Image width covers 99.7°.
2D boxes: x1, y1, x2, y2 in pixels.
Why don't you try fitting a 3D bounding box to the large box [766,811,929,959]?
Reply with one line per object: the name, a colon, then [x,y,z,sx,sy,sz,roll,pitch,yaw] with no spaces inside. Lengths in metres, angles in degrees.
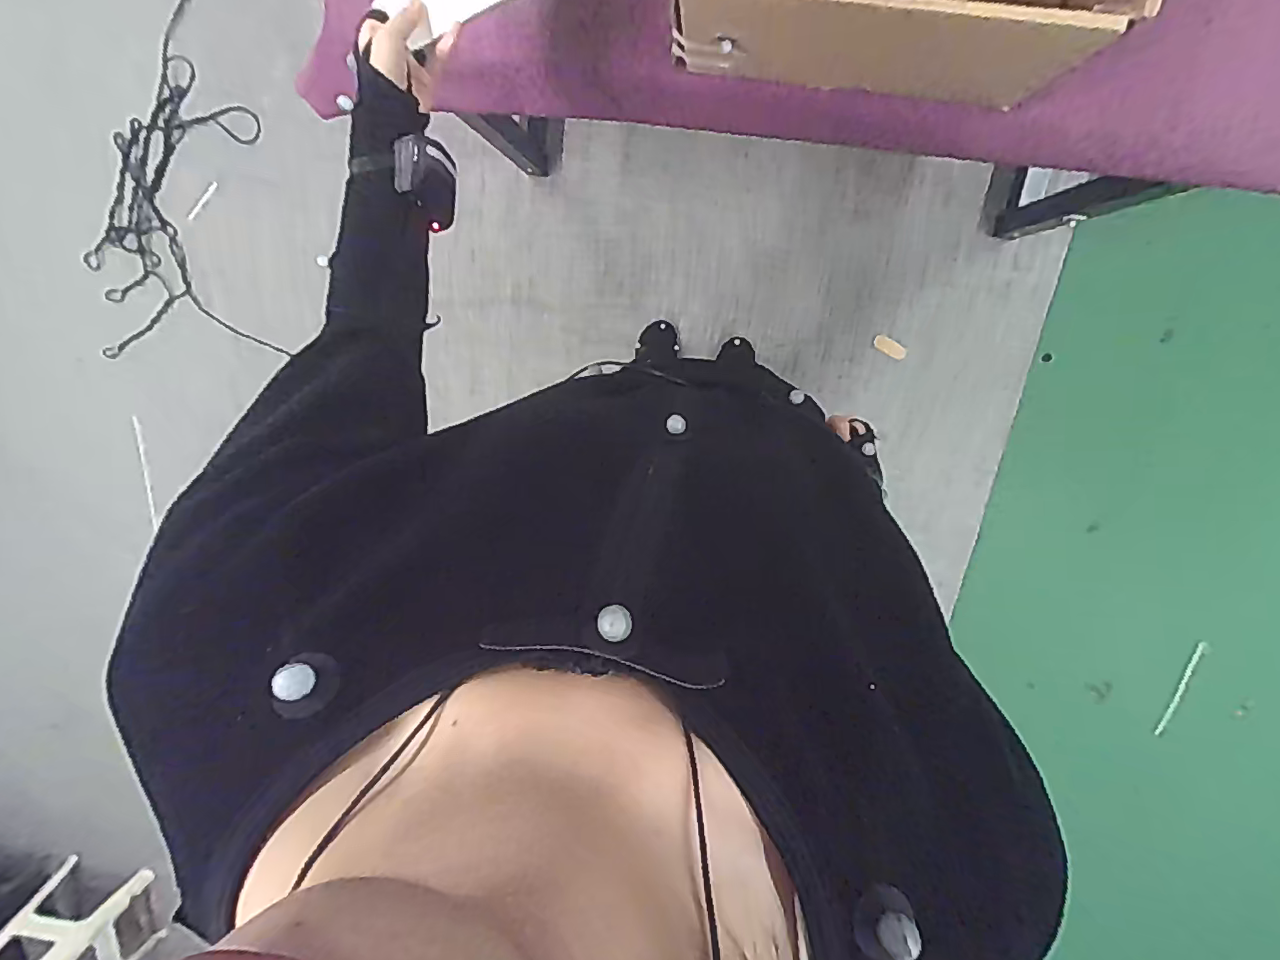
large box: [0.619,1.271,1.664,0.408,0.320,0.320,-6,105,7]
